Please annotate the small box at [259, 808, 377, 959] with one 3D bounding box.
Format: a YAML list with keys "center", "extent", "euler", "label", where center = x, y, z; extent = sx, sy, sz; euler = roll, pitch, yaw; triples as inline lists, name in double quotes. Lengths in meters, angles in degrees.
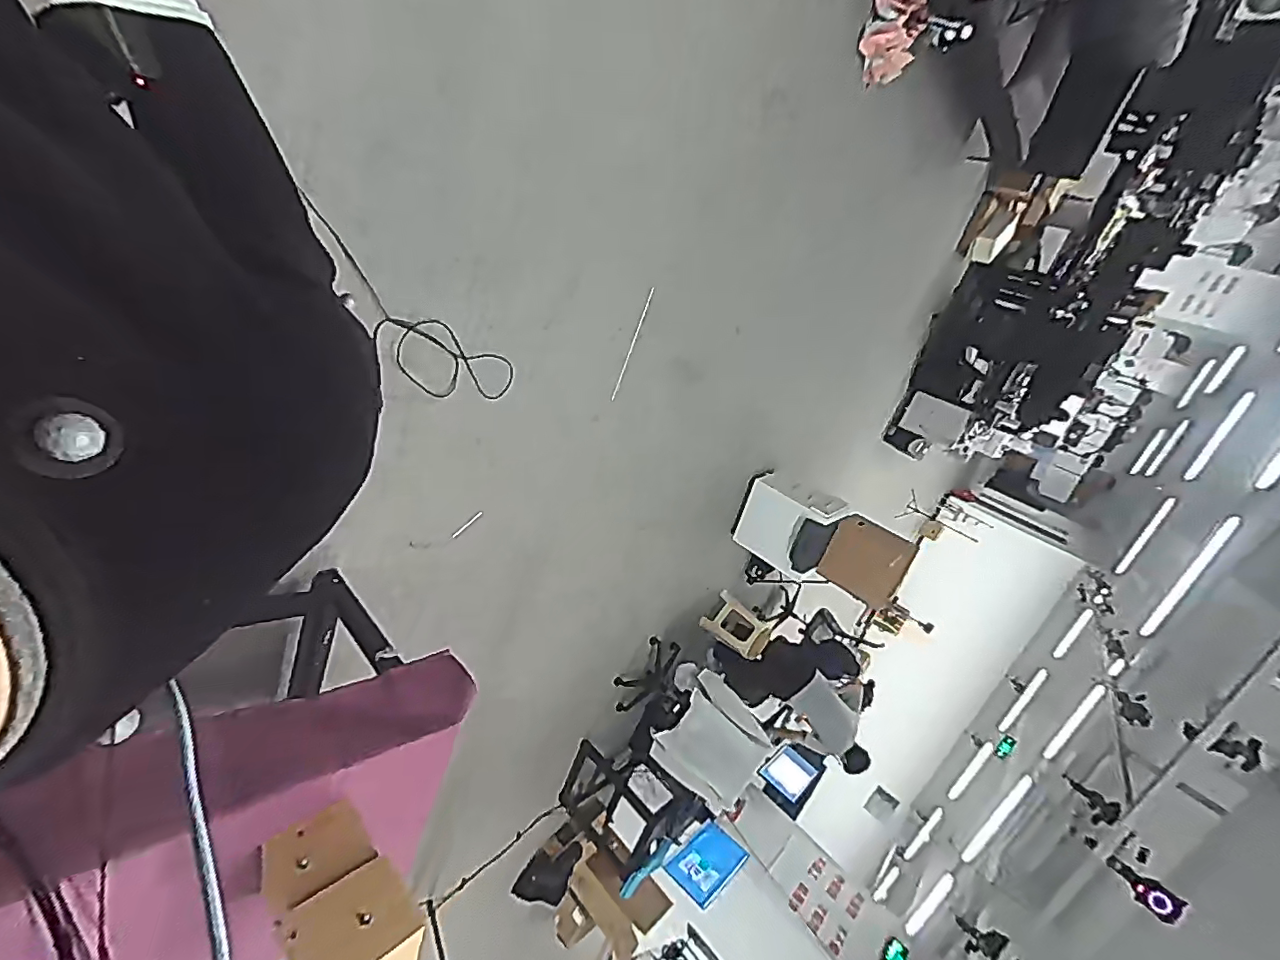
- center: [-0.665, 0.820, 1.113]
  extent: [0.168, 0.176, 0.179]
  euler: [-9, 125, -47]
  label: "small box"

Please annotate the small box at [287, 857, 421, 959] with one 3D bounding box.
- center: [-0.542, 0.874, 1.016]
  extent: [0.179, 0.176, 0.168]
  euler: [-10, 125, -48]
  label: "small box"
